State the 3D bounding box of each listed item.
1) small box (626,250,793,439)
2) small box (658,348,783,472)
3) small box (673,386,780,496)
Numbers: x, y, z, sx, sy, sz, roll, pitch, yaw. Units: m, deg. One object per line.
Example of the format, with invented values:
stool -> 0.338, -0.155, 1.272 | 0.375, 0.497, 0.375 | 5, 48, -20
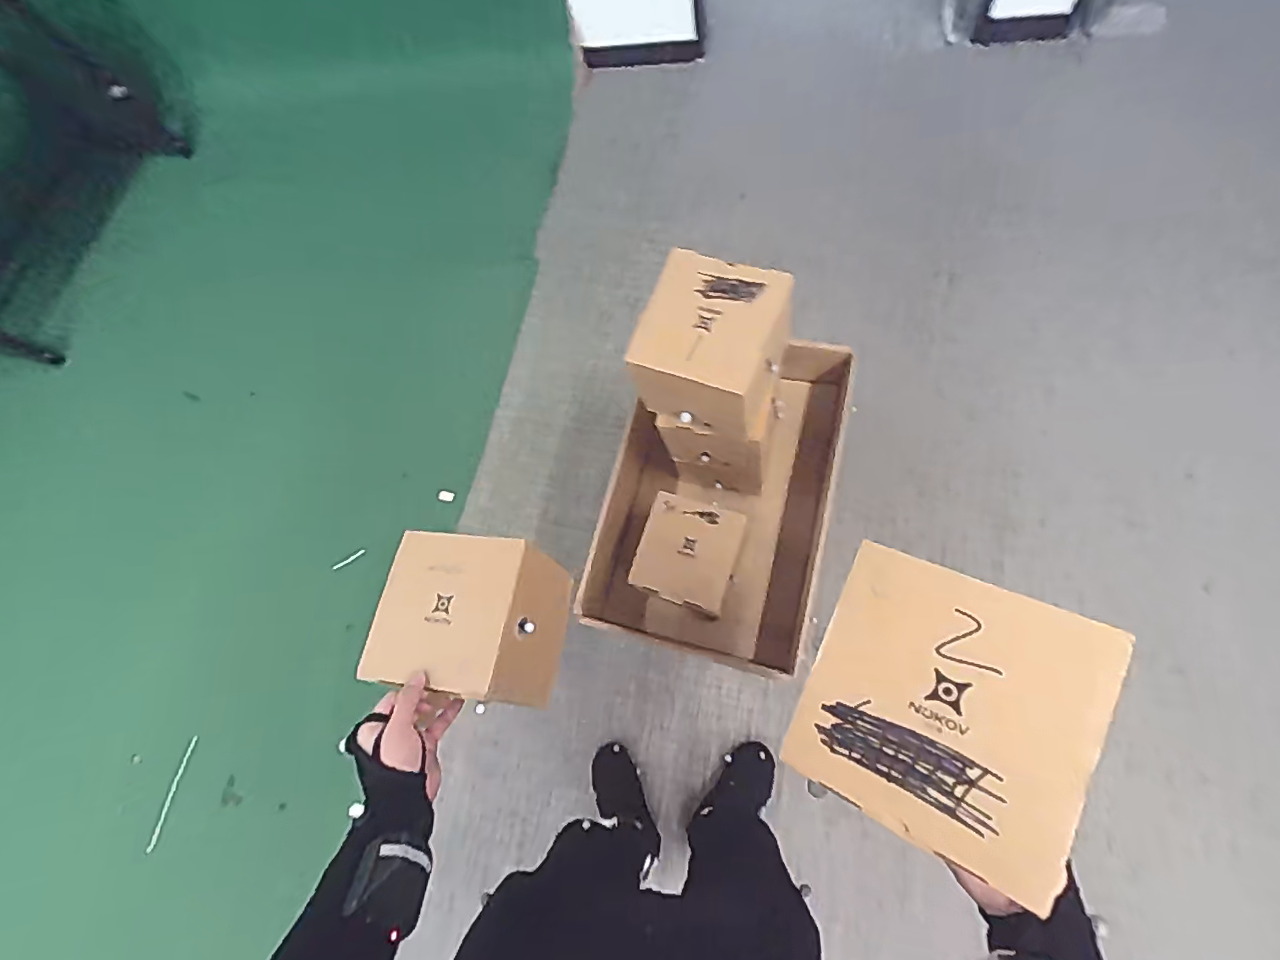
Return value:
small box -> 0.102, -0.183, 0.762 | 0.168, 0.176, 0.179 | 20, 79, 18
small box -> 0.140, -0.130, 0.913 | 0.168, 0.176, 0.179 | 10, 76, 15
small box -> 0.174, -0.084, 1.065 | 0.168, 0.176, 0.179 | 11, 76, 16
